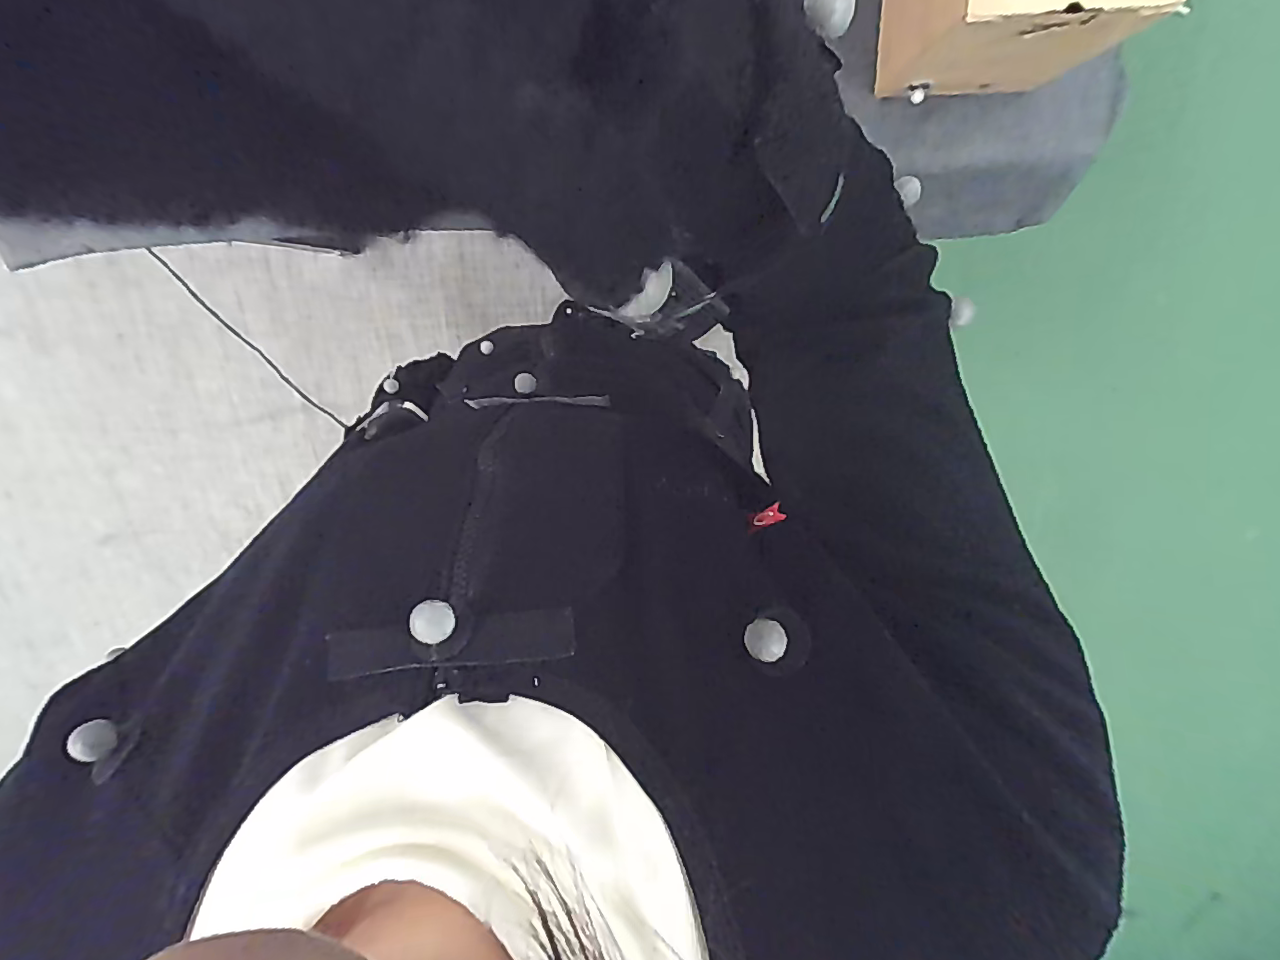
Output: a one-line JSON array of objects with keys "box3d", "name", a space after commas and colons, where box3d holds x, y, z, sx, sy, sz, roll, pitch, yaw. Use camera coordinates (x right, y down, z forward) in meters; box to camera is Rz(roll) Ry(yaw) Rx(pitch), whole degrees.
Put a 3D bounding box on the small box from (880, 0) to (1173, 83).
[{"box3d": [0.323, -0.465, 0.460, 0.168, 0.176, 0.179, -2, 107, 0], "name": "small box"}]
